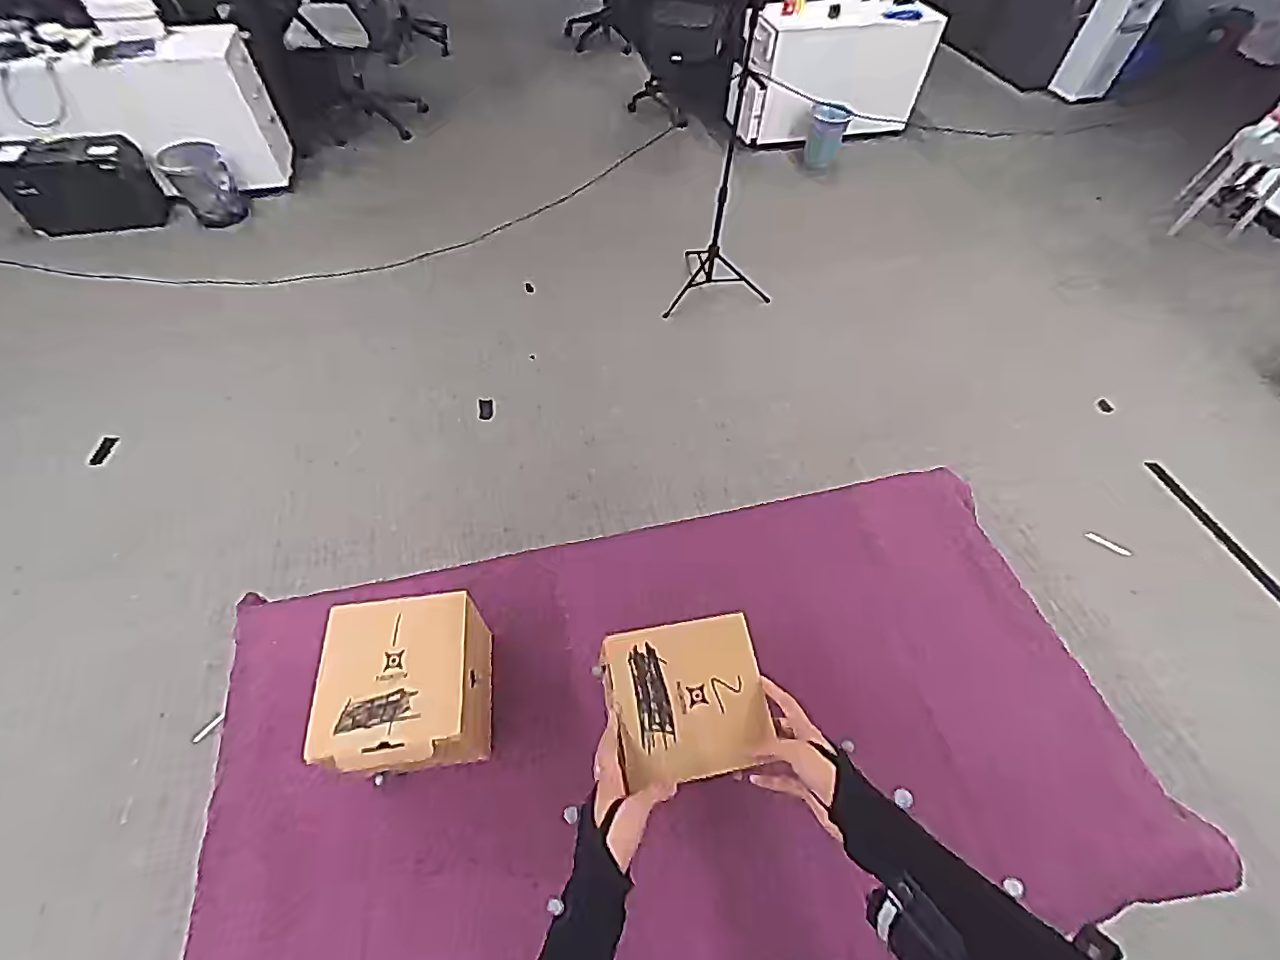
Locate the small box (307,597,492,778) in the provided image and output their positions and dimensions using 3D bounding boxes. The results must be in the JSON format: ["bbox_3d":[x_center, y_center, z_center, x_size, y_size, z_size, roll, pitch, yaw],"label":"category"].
[{"bbox_3d":[-0.286,0.270,0.689,0.168,0.176,0.179,-6,56,-7],"label":"small box"}]
